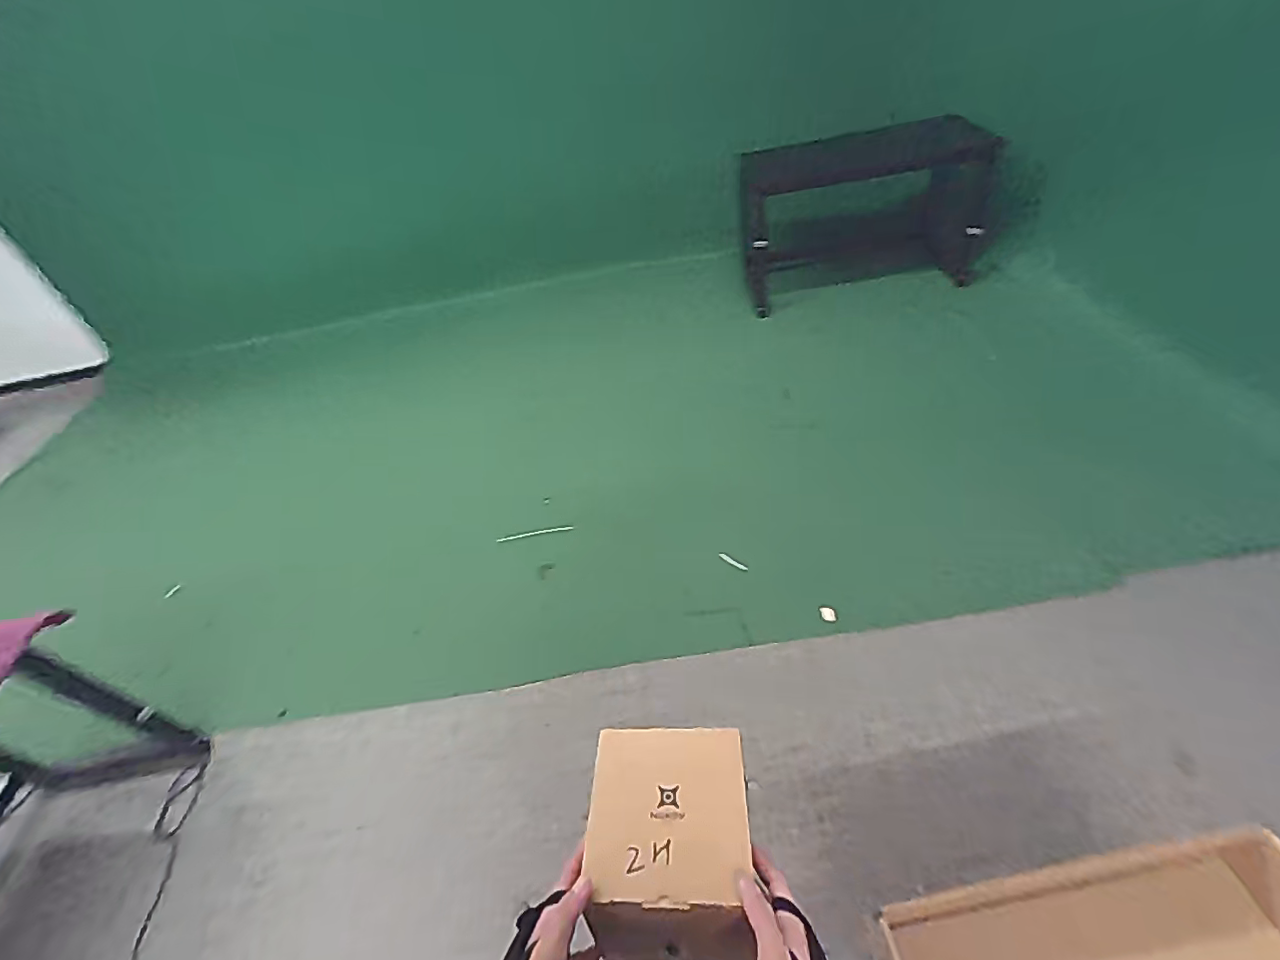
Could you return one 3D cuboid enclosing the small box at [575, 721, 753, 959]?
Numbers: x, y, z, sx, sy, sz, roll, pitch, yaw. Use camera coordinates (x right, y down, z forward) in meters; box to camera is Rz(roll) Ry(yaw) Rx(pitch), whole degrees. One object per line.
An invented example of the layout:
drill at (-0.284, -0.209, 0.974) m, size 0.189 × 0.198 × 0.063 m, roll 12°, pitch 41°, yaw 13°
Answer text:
small box at (0.032, 0.398, 0.604) m, size 0.168 × 0.176 × 0.179 m, roll -5°, pitch 34°, yaw 6°
